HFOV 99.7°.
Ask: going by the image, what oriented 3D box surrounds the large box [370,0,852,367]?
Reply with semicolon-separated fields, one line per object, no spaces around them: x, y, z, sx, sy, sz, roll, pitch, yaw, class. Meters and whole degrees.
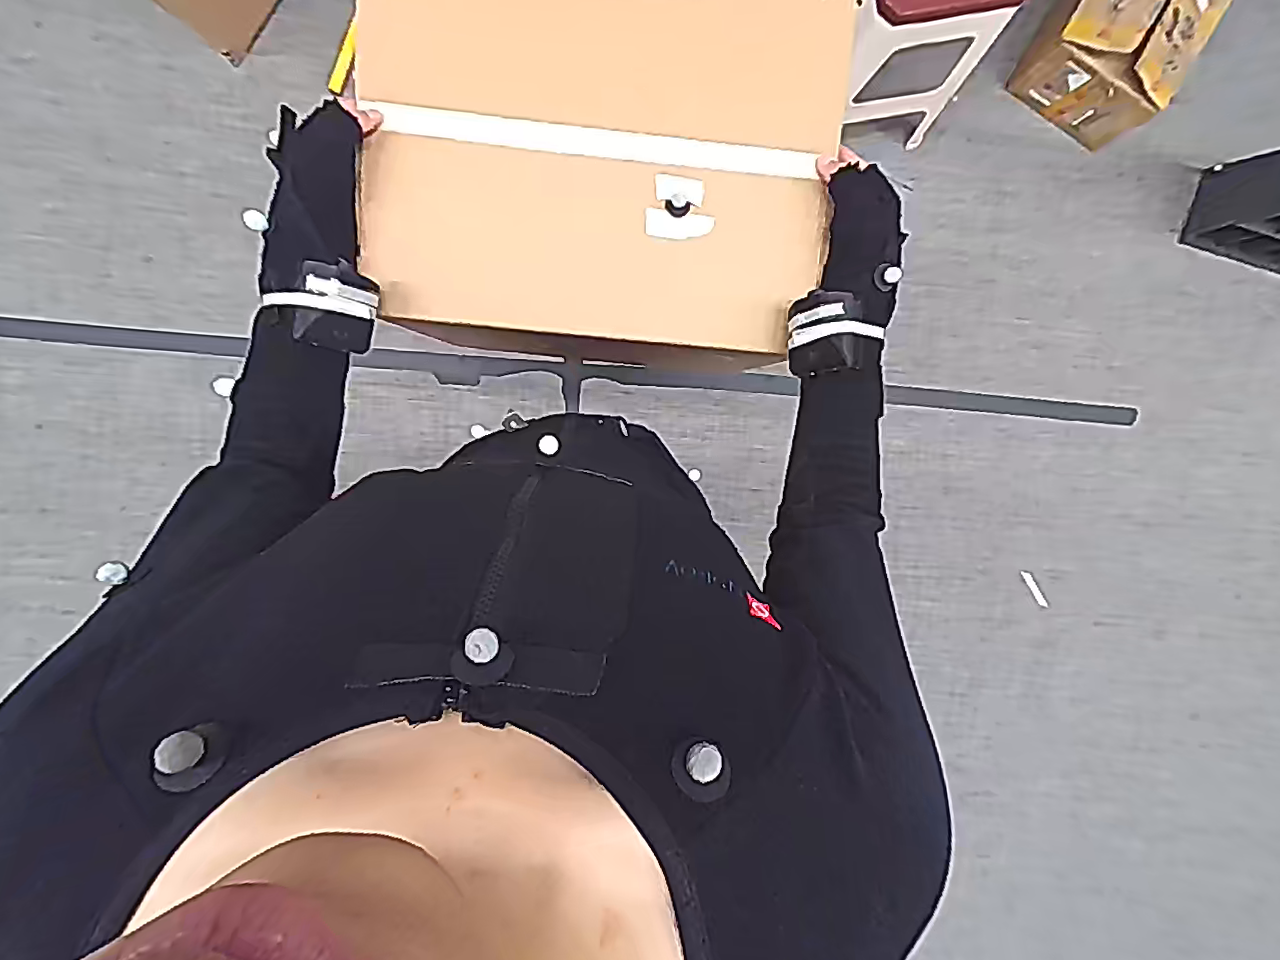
-0.038;-0.307;0.610;0.408;0.320;0.320;4;98;-5;large box
